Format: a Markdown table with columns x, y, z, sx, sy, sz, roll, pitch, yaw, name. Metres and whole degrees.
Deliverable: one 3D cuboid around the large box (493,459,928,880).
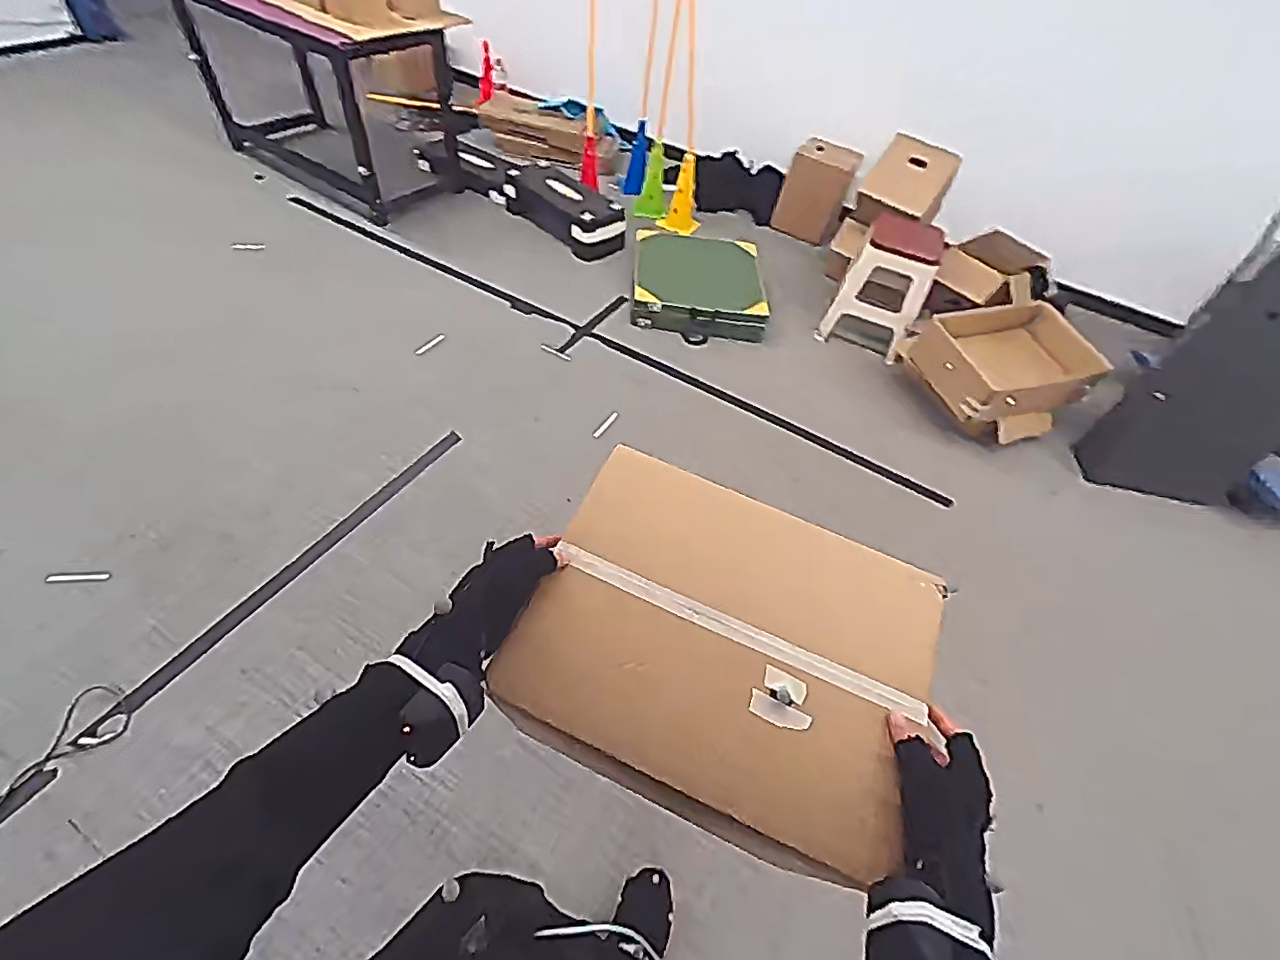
| x | y | z | sx | sy | sz | roll | pitch | yaw | name |
| --- | --- | --- | --- | --- | --- | --- | --- | --- | --- |
| 0.078 | 0.237 | 0.698 | 0.408 | 0.320 | 0.320 | 23 | 60 | 8 | large box |
